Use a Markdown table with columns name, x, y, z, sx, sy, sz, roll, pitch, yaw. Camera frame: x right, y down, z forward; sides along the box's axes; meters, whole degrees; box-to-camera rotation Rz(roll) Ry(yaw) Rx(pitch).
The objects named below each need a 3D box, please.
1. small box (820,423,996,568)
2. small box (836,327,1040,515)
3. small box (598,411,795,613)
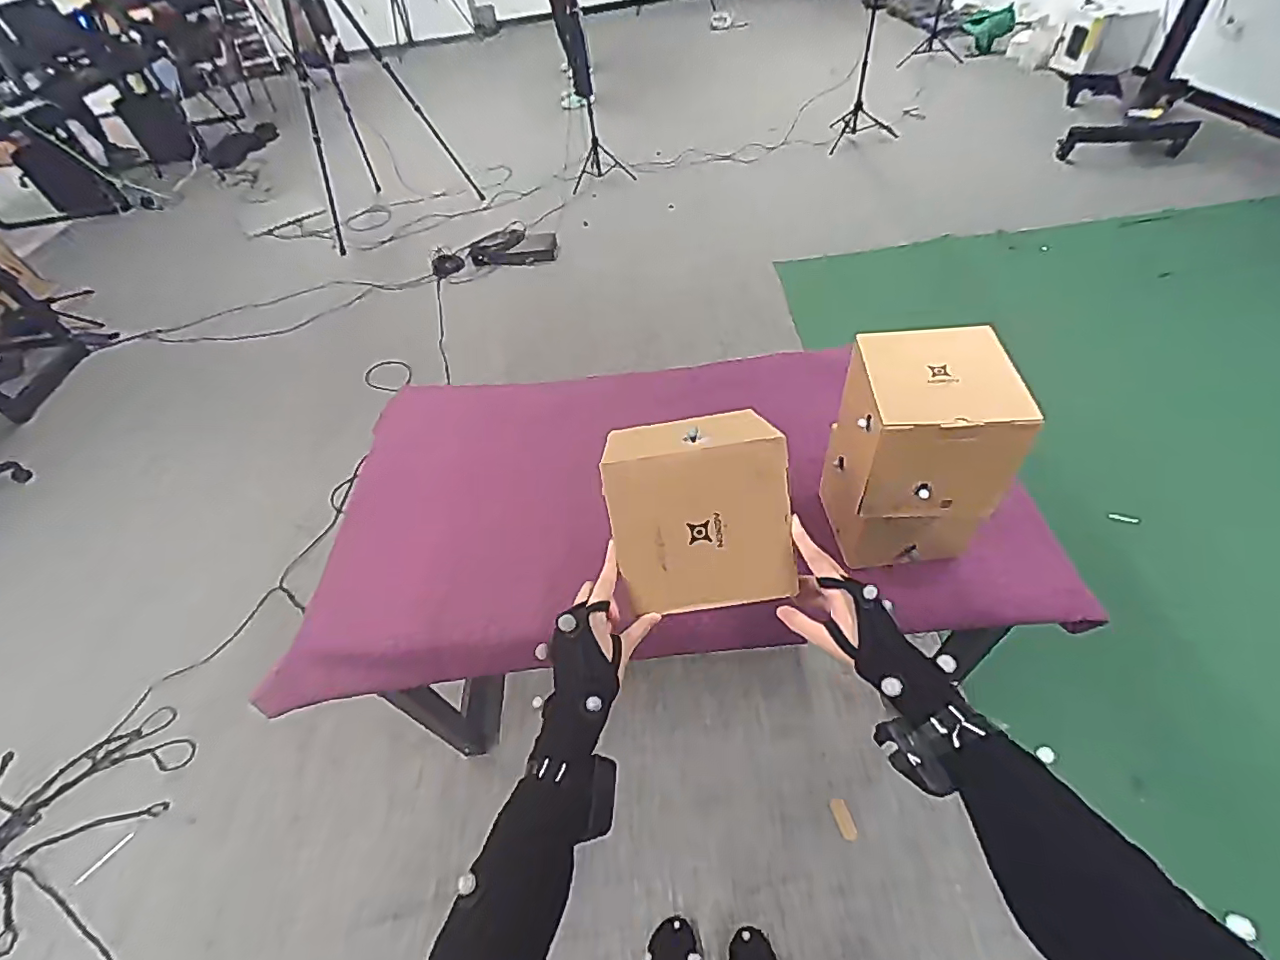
| name | x | y | z | sx | sy | sz | roll | pitch | yaw |
| --- | --- | --- | --- | --- | --- | --- | --- | --- | --- |
| small box | 0.393 | 0.017 | 0.830 | 0.179 | 0.176 | 0.168 | -8 | 47 | 3 |
| small box | 0.359 | -0.074 | 0.697 | 0.168 | 0.176 | 0.179 | -2 | 49 | 8 |
| small box | 0.056 | 0.024 | 0.595 | 0.179 | 0.168 | 0.176 | -8 | 13 | 3 |
